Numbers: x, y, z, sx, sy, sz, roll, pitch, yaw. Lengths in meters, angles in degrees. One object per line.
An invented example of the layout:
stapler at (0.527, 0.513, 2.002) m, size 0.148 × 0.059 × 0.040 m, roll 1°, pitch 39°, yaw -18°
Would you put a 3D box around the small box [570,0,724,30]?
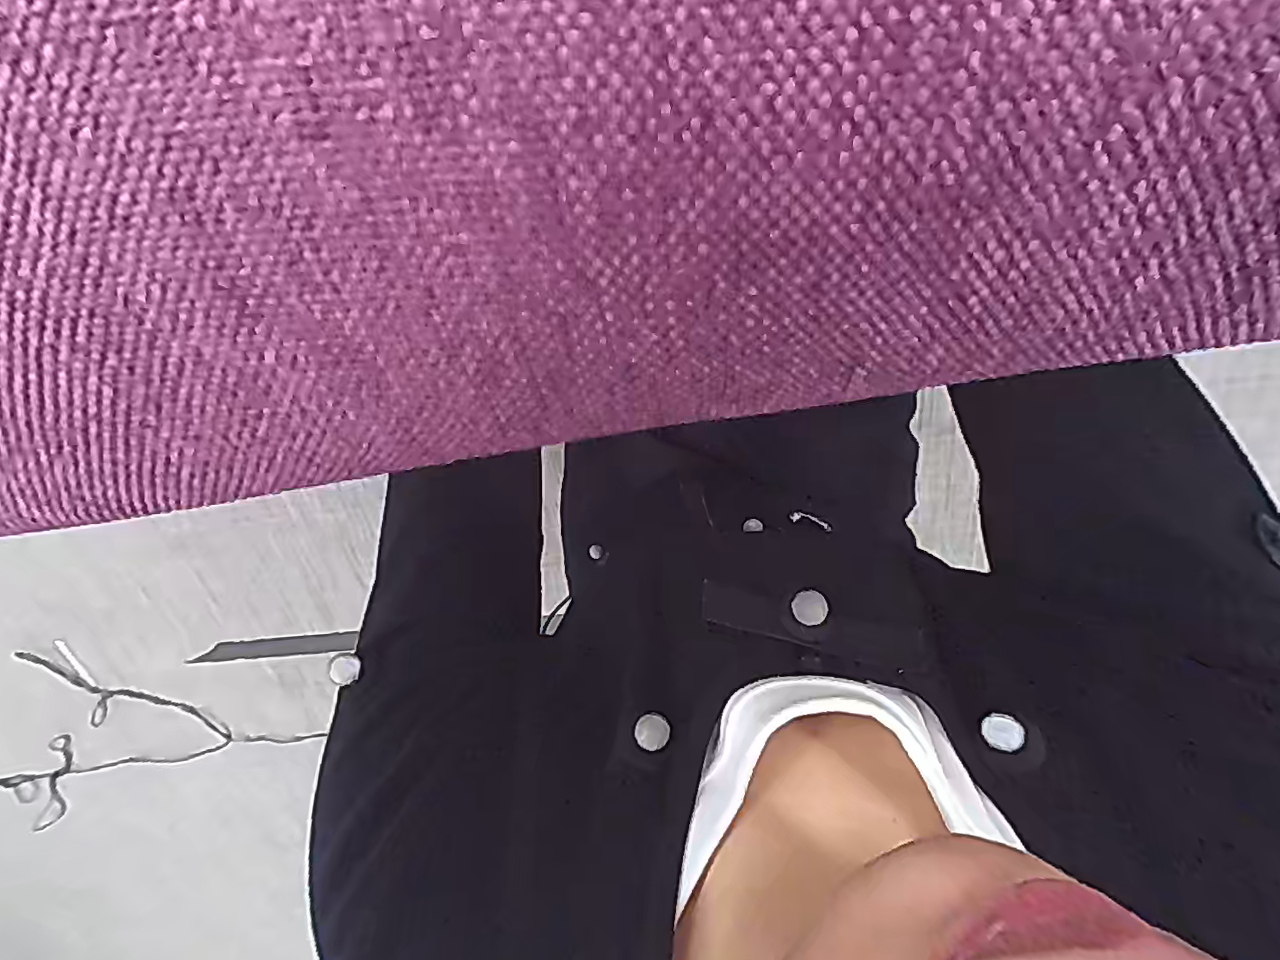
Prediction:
small box at (0.003, -0.471, 0.390) m, size 0.168 × 0.176 × 0.179 m, roll -9°, pitch 117°, yaw 7°
